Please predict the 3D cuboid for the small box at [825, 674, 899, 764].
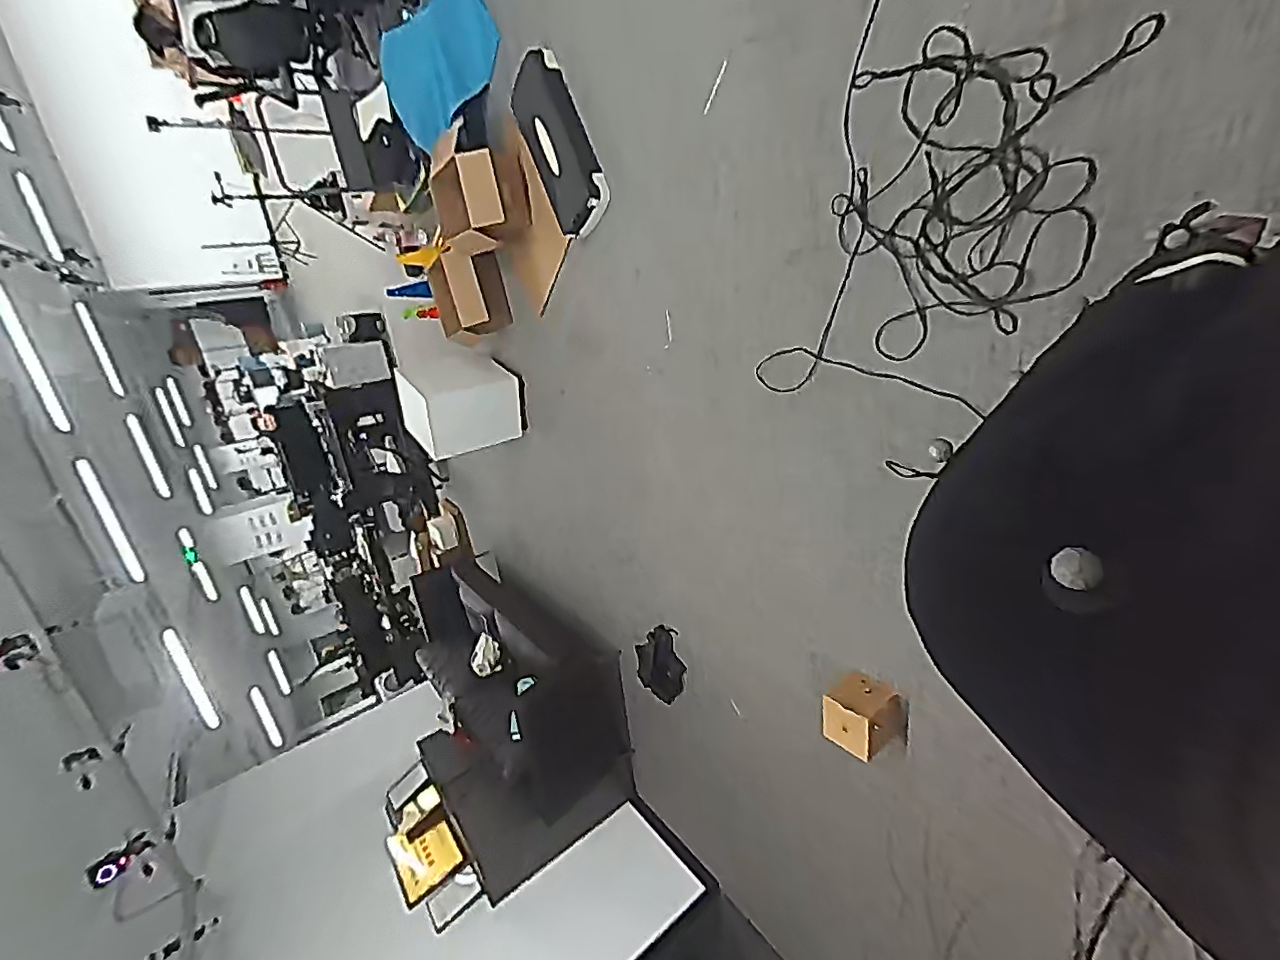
[{"bbox_3d":[0.732,0.779,1.782,0.168,0.176,0.179,17,121,51],"label":"small box"}]
